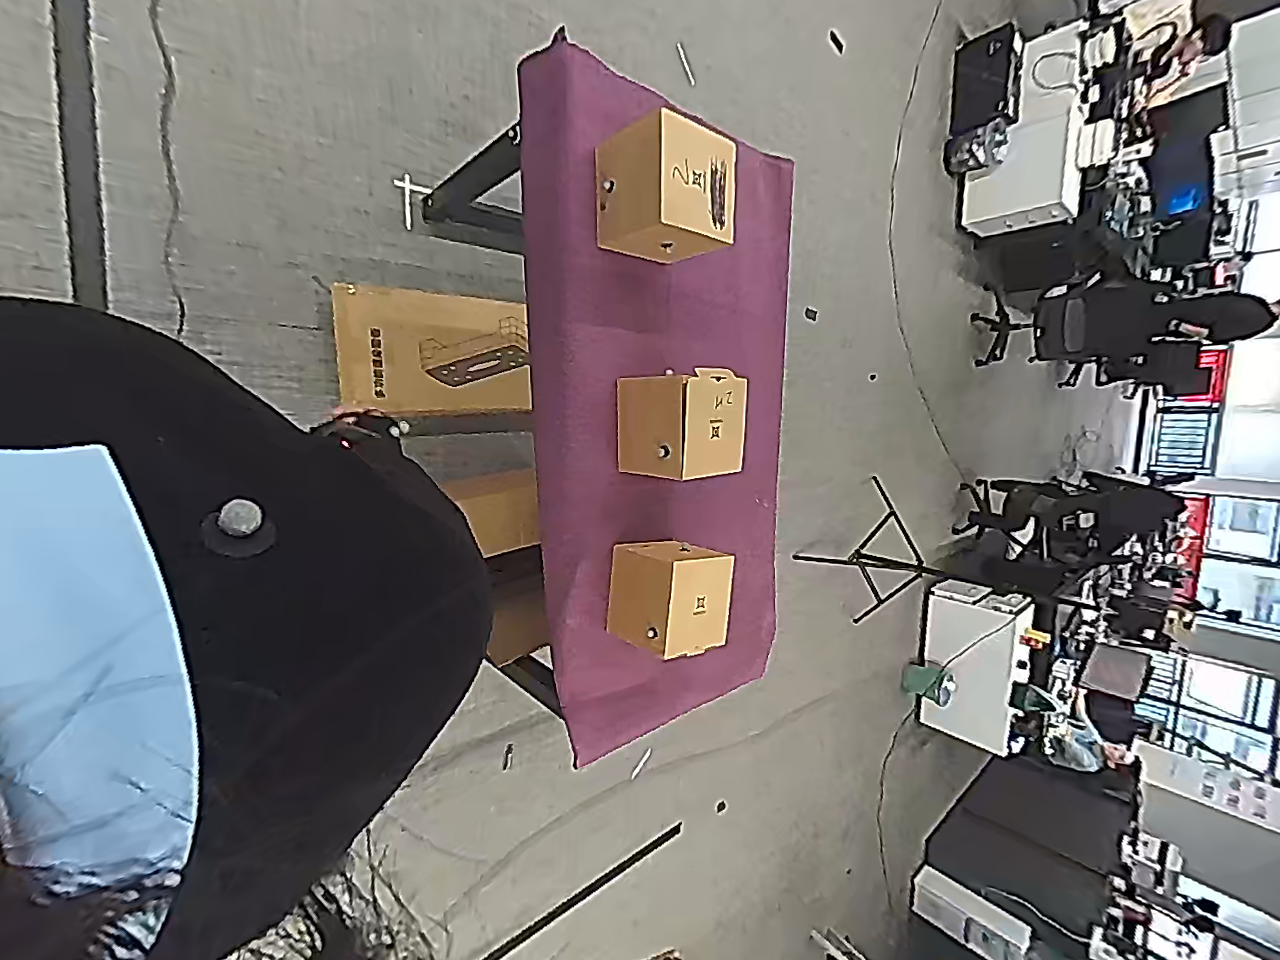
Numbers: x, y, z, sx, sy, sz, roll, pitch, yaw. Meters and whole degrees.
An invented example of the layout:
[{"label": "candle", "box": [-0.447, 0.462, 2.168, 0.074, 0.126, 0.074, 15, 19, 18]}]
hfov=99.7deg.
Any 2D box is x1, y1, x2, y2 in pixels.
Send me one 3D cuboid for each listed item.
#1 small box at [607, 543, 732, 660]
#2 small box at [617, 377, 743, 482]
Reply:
[{"label": "small box", "box": [0.052, 0.218, 1.031, 0.168, 0.176, 0.179, 2, 95, -42]}, {"label": "small box", "box": [0.071, -0.098, 1.001, 0.168, 0.176, 0.179, -8, 101, -43]}]
